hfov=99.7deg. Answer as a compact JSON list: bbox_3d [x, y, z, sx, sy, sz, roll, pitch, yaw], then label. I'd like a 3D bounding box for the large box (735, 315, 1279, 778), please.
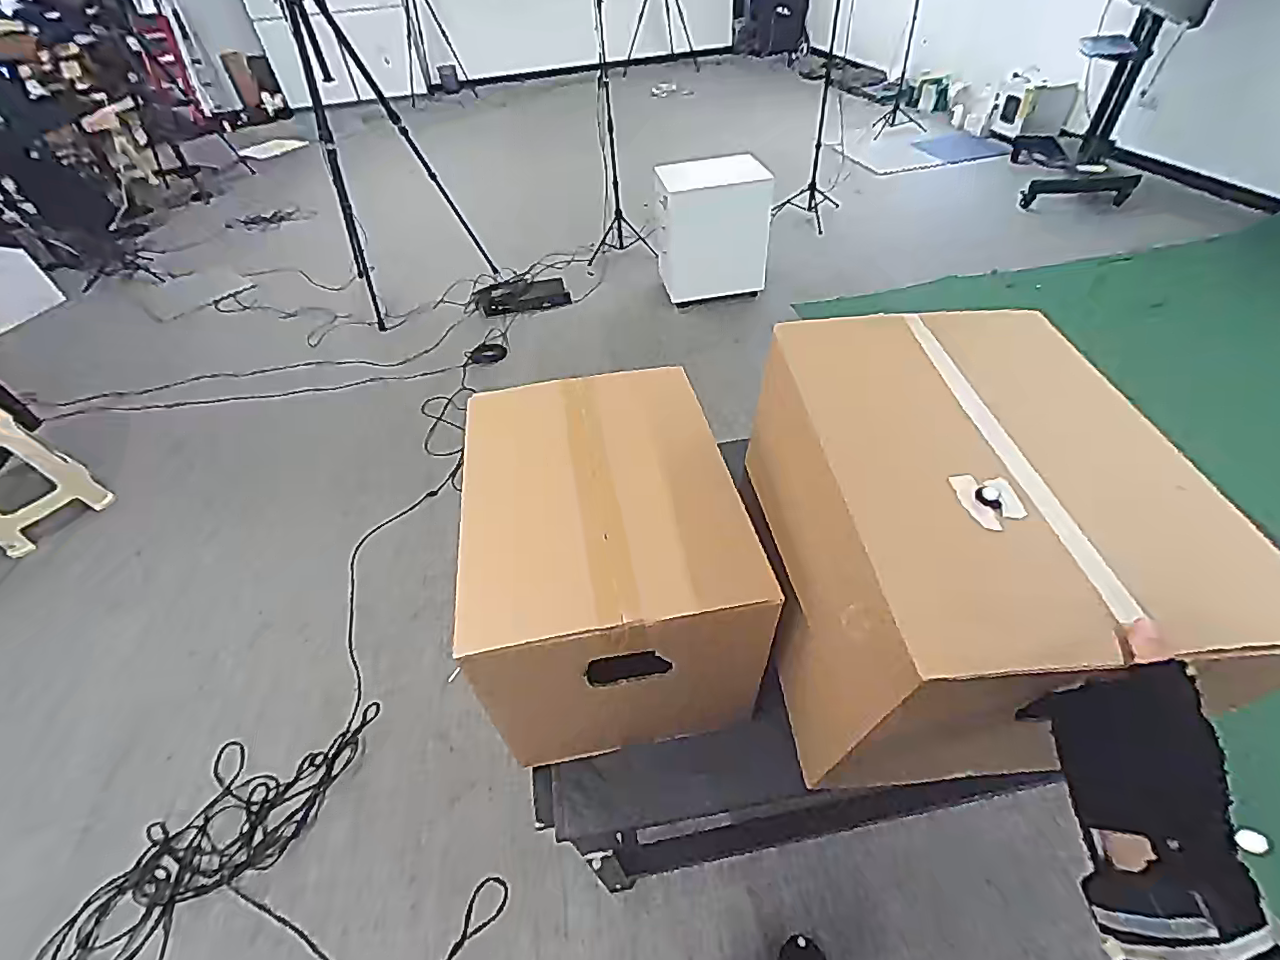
[{"bbox_3d":[0.313,0.064,0.598,0.320,0.320,0.408,-4,50,-2],"label":"large box"}]
